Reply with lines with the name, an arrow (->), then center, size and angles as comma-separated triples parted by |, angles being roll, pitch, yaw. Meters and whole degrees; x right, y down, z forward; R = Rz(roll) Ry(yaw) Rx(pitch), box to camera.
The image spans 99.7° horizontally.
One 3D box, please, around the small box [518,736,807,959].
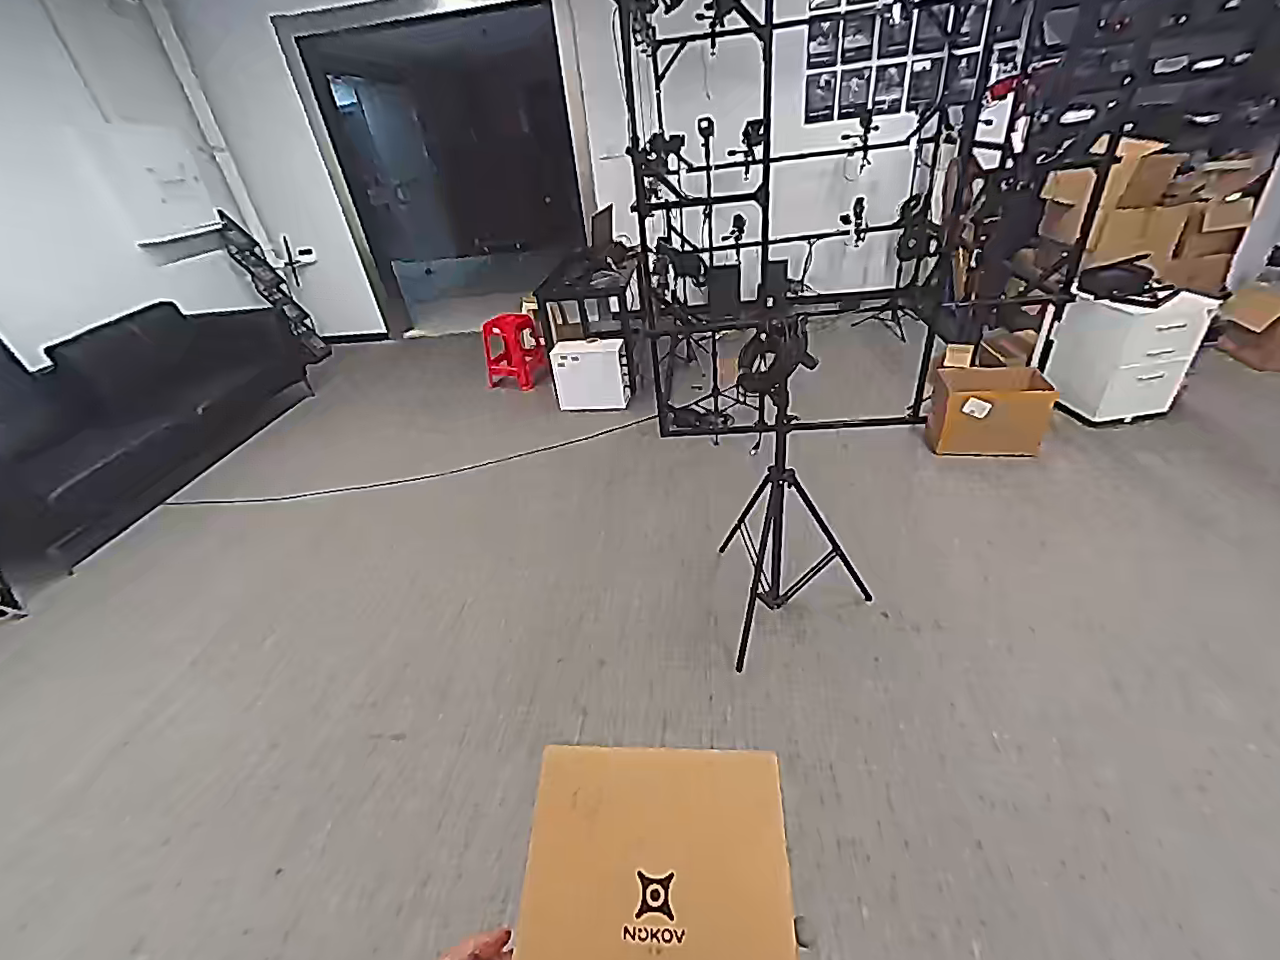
small box -> 0.018, 0.298, 0.383 | 0.168, 0.176, 0.179 | -2, 51, 5
